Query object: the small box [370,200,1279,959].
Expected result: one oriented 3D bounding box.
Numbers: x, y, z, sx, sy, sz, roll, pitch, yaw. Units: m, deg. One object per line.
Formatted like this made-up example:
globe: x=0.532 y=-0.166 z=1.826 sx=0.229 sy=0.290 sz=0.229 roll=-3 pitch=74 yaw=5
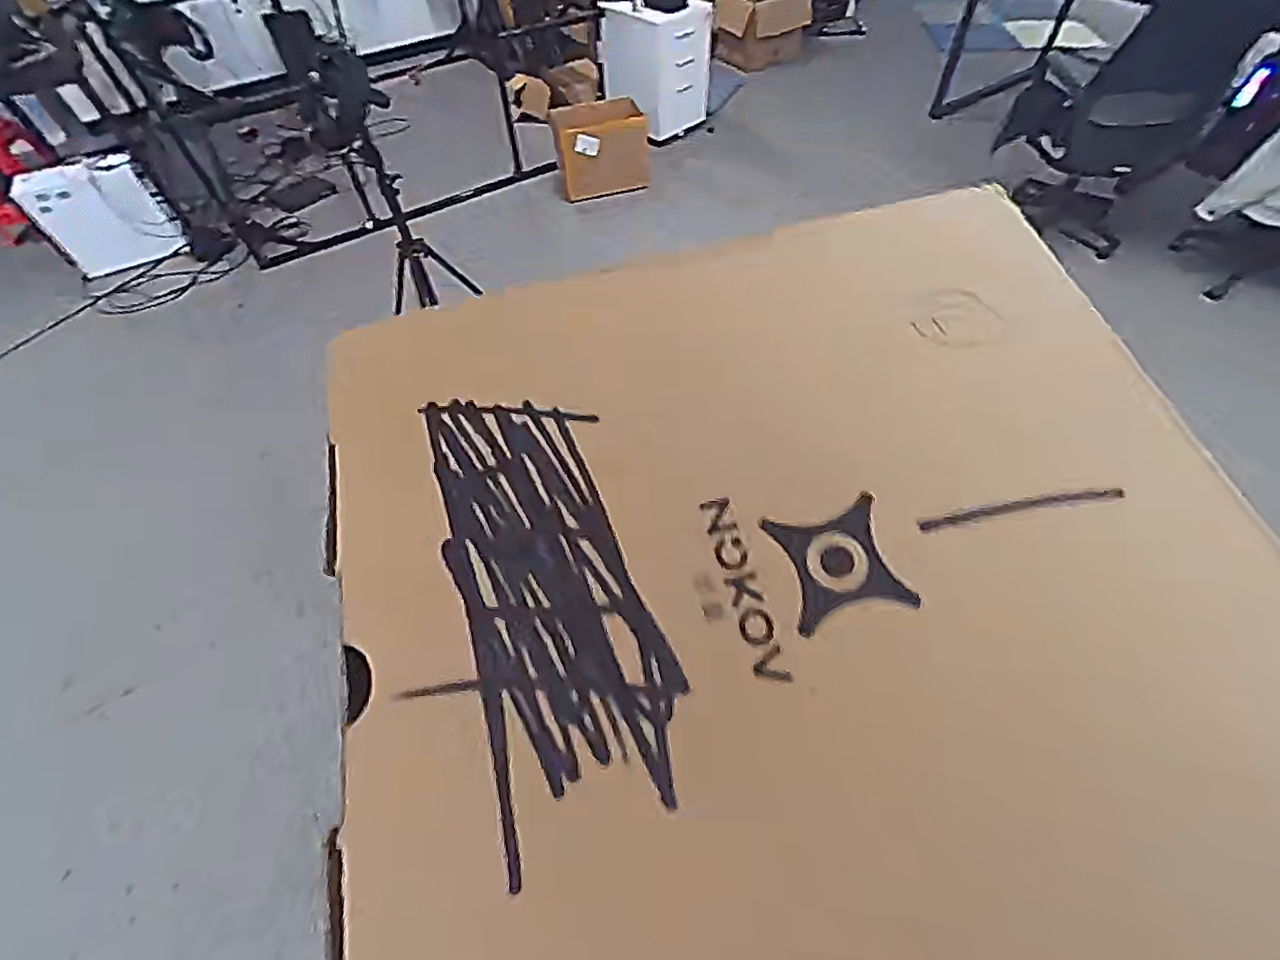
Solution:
small box: x=0.039 y=0.050 z=0.177 sx=0.179 sy=0.176 sz=0.168 roll=-13 pitch=66 yaw=-3
